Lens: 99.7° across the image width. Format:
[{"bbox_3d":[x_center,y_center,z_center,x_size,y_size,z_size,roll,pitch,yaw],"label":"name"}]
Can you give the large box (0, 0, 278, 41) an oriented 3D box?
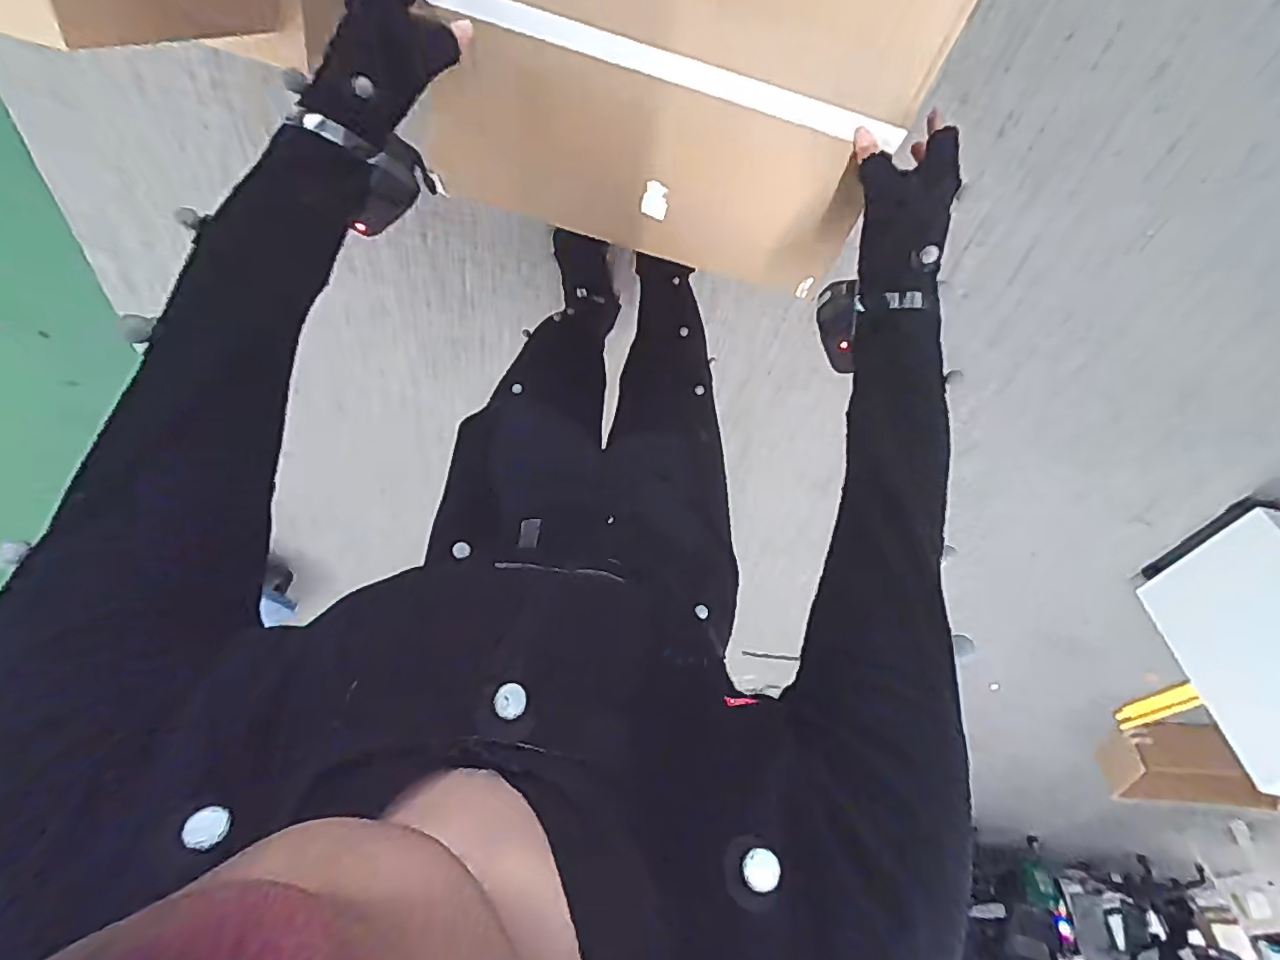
[{"bbox_3d":[-0.644,-0.644,0.486,0.408,0.320,0.320,13,132,-5],"label":"large box"}]
